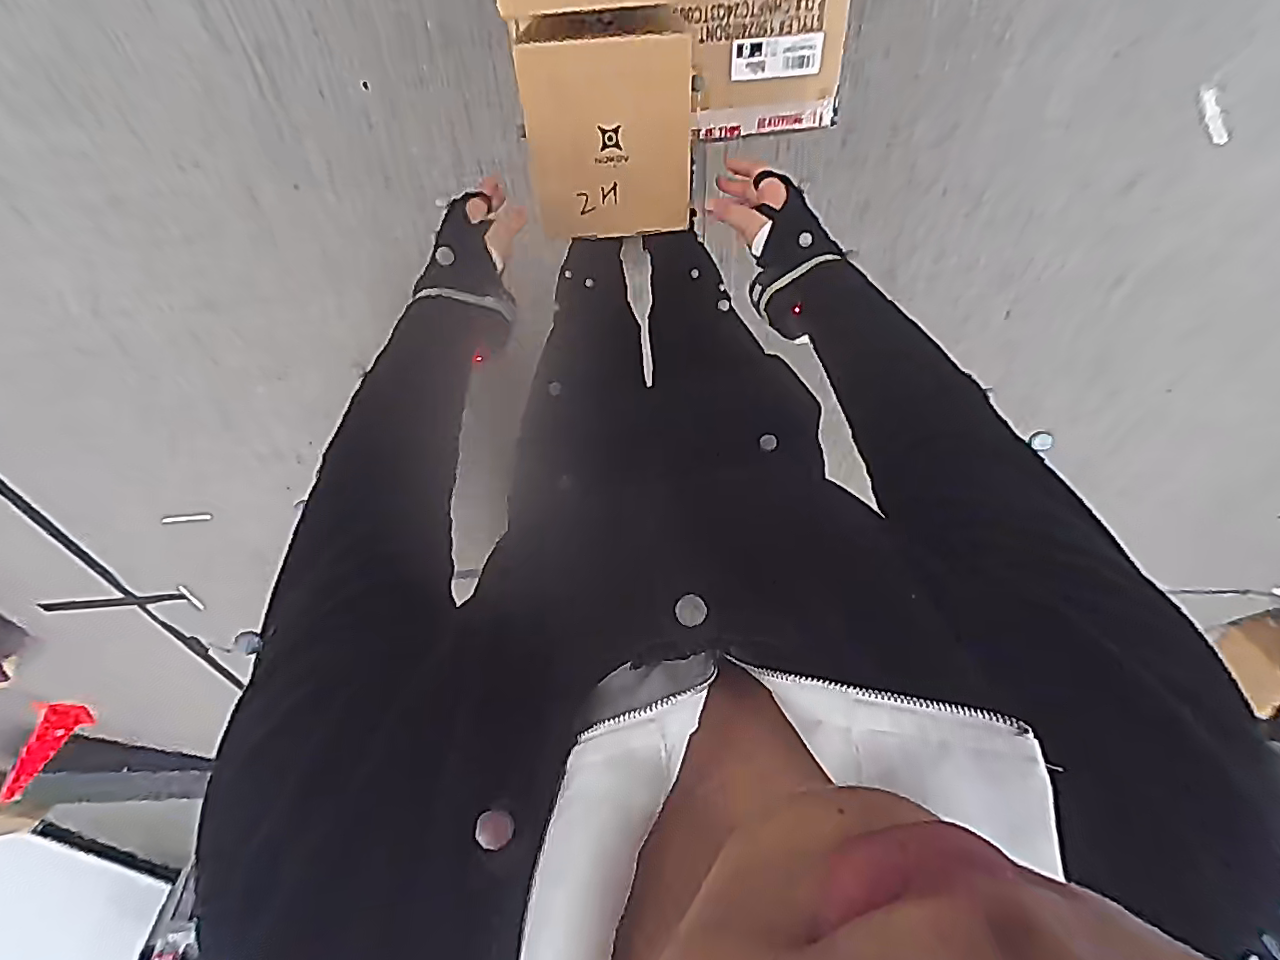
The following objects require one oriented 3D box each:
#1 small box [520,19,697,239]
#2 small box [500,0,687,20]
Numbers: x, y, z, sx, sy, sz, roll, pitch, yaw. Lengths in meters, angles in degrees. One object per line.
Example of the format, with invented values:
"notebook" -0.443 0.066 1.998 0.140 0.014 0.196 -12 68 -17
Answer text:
"small box" -0.031 -0.394 0.604 0.168 0.176 0.179 -4 136 0
"small box" -0.048 -0.528 0.471 0.168 0.176 0.179 -4 135 1
